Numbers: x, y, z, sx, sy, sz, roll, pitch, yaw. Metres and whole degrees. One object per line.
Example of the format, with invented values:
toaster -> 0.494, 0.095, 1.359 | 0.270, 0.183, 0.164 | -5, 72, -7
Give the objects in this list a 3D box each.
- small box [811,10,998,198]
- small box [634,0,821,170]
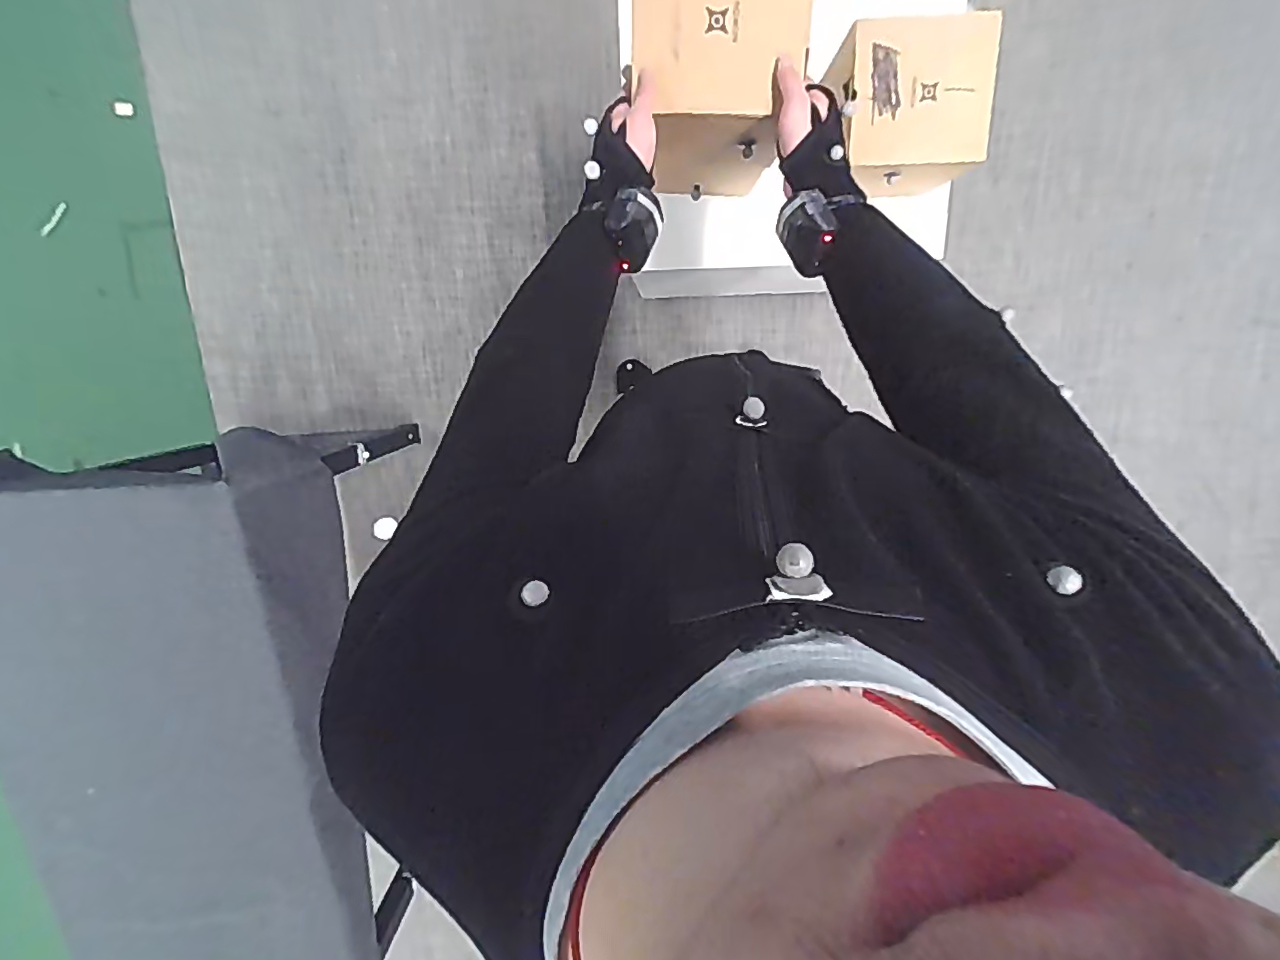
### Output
small box -> 0.345, -0.499, 0.743 | 0.179, 0.176, 0.168 | -2, 104, 0
small box -> 0.082, -0.454, 0.586 | 0.179, 0.176, 0.168 | 0, 102, 0
